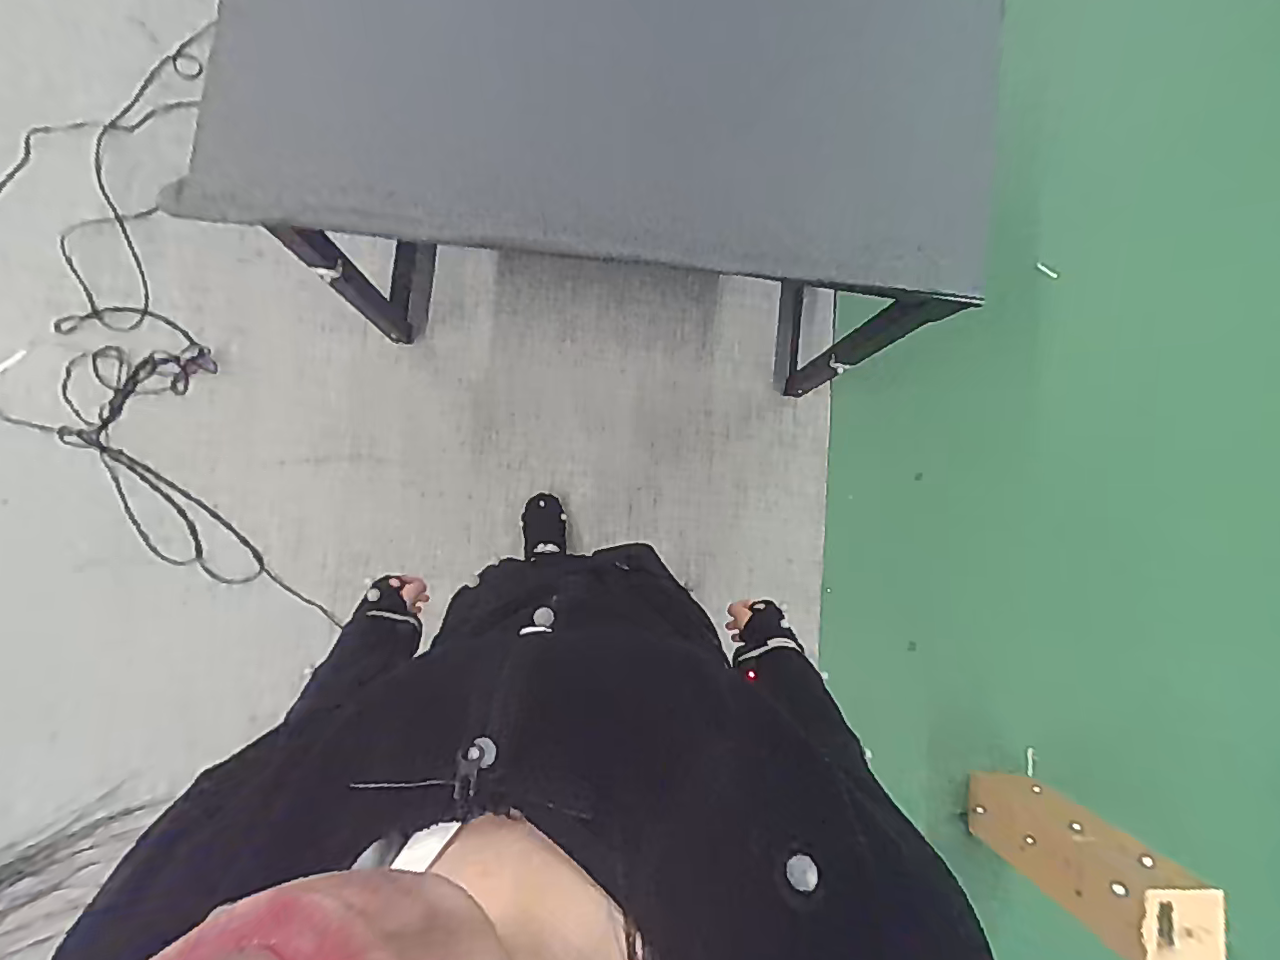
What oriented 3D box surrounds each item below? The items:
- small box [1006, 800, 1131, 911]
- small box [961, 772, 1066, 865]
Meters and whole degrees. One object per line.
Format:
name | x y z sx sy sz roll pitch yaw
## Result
small box | 1.045 0.911 1.325 0.179 0.176 0.168 4 85 -7
small box | 1.022 0.922 1.485 0.179 0.176 0.168 5 84 -7
